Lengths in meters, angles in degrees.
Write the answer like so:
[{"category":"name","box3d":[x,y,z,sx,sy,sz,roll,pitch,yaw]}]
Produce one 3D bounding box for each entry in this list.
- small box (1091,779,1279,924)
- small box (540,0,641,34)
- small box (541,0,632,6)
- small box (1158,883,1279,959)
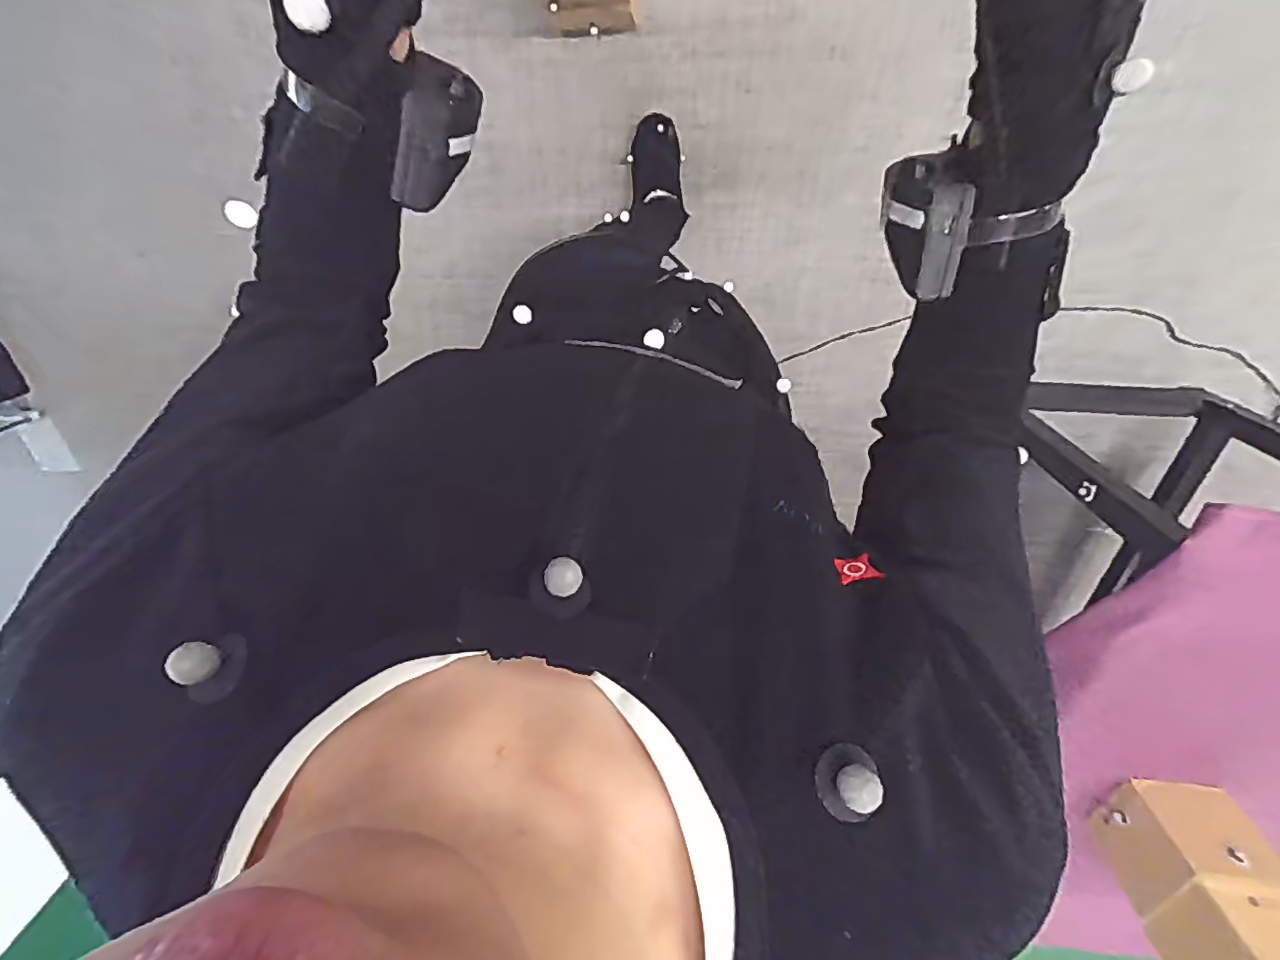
[{"category":"small box","box3d":[0.970,0.659,0.954,0.179,0.176,0.168,7,120,1]},{"category":"small box","box3d":[-0.085,-0.923,0.962,0.168,0.176,0.179,3,121,4]},{"category":"small box","box3d":[-0.097,-0.846,0.818,0.168,0.176,0.179,2,120,4]},{"category":"small box","box3d":[0.960,0.746,0.818,0.168,0.176,0.179,6,120,2]}]
